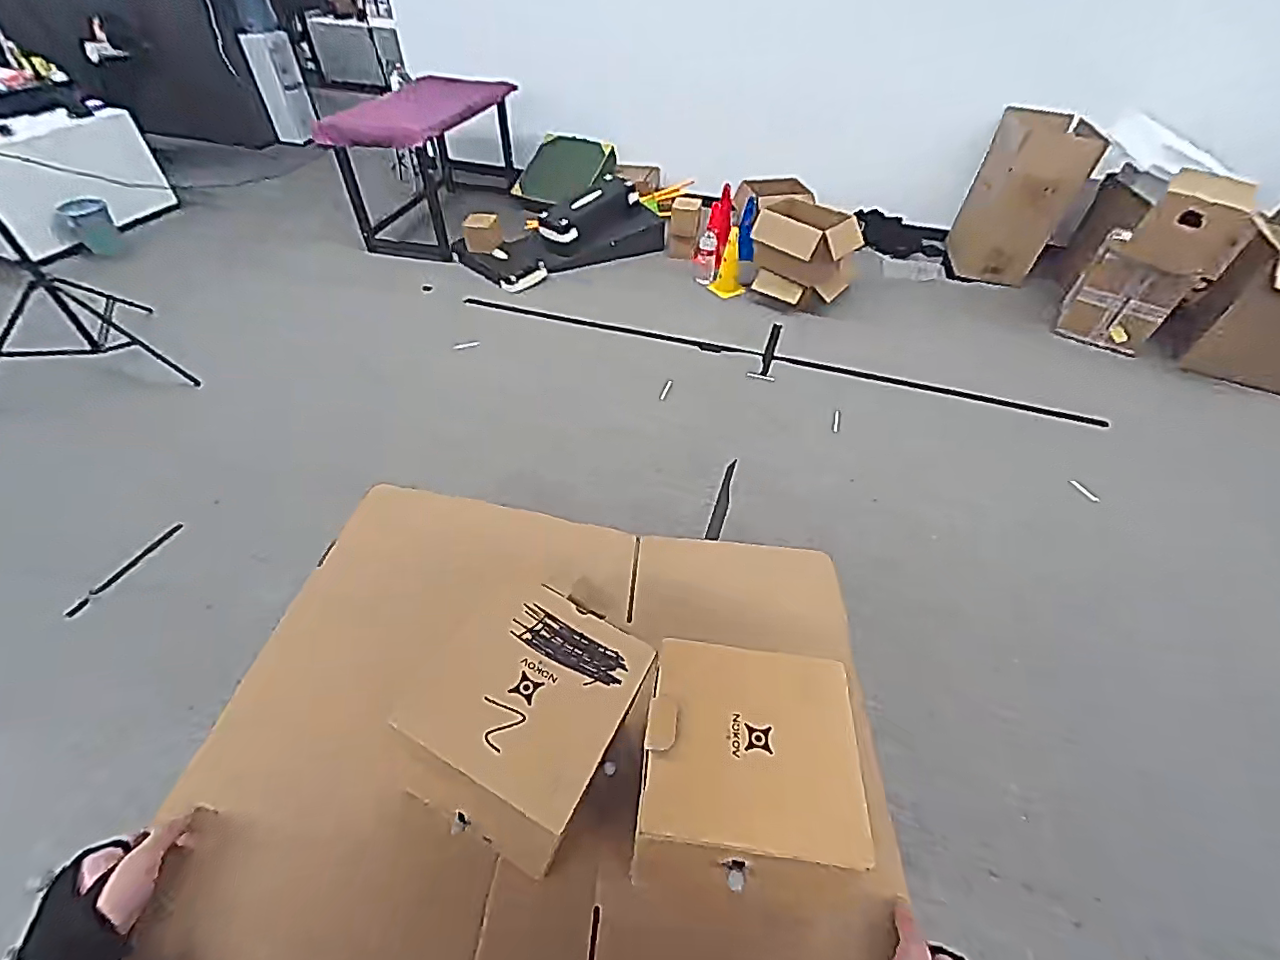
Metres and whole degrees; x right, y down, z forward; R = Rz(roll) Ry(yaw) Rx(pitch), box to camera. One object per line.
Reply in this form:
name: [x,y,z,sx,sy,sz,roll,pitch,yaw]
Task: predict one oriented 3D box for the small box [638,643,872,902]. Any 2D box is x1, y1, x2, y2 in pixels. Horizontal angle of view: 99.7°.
small box: [0.095,0.281,0.519,0.179,0.176,0.168,5,43,4]
